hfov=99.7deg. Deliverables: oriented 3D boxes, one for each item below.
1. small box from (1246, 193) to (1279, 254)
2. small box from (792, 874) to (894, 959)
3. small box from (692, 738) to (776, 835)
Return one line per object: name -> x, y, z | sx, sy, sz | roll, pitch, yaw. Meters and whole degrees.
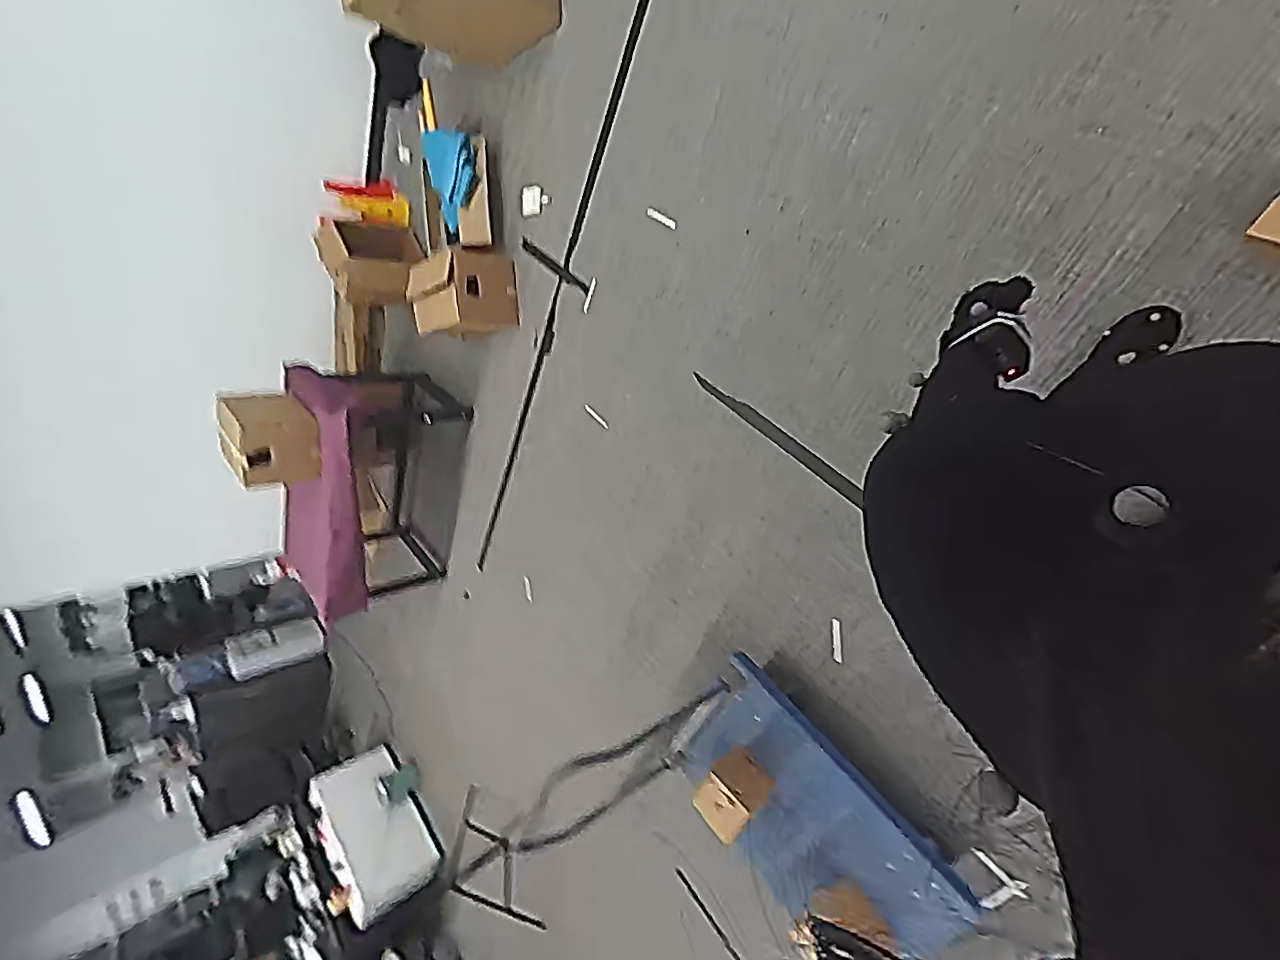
small box -> 1.156, -0.449, 0.872 | 0.179, 0.176, 0.168 | 43, 124, 31
small box -> 0.571, 1.257, 1.512 | 0.179, 0.176, 0.168 | 53, 129, 24
small box -> 0.302, 0.969, 1.719 | 0.168, 0.176, 0.179 | 40, 124, 31
